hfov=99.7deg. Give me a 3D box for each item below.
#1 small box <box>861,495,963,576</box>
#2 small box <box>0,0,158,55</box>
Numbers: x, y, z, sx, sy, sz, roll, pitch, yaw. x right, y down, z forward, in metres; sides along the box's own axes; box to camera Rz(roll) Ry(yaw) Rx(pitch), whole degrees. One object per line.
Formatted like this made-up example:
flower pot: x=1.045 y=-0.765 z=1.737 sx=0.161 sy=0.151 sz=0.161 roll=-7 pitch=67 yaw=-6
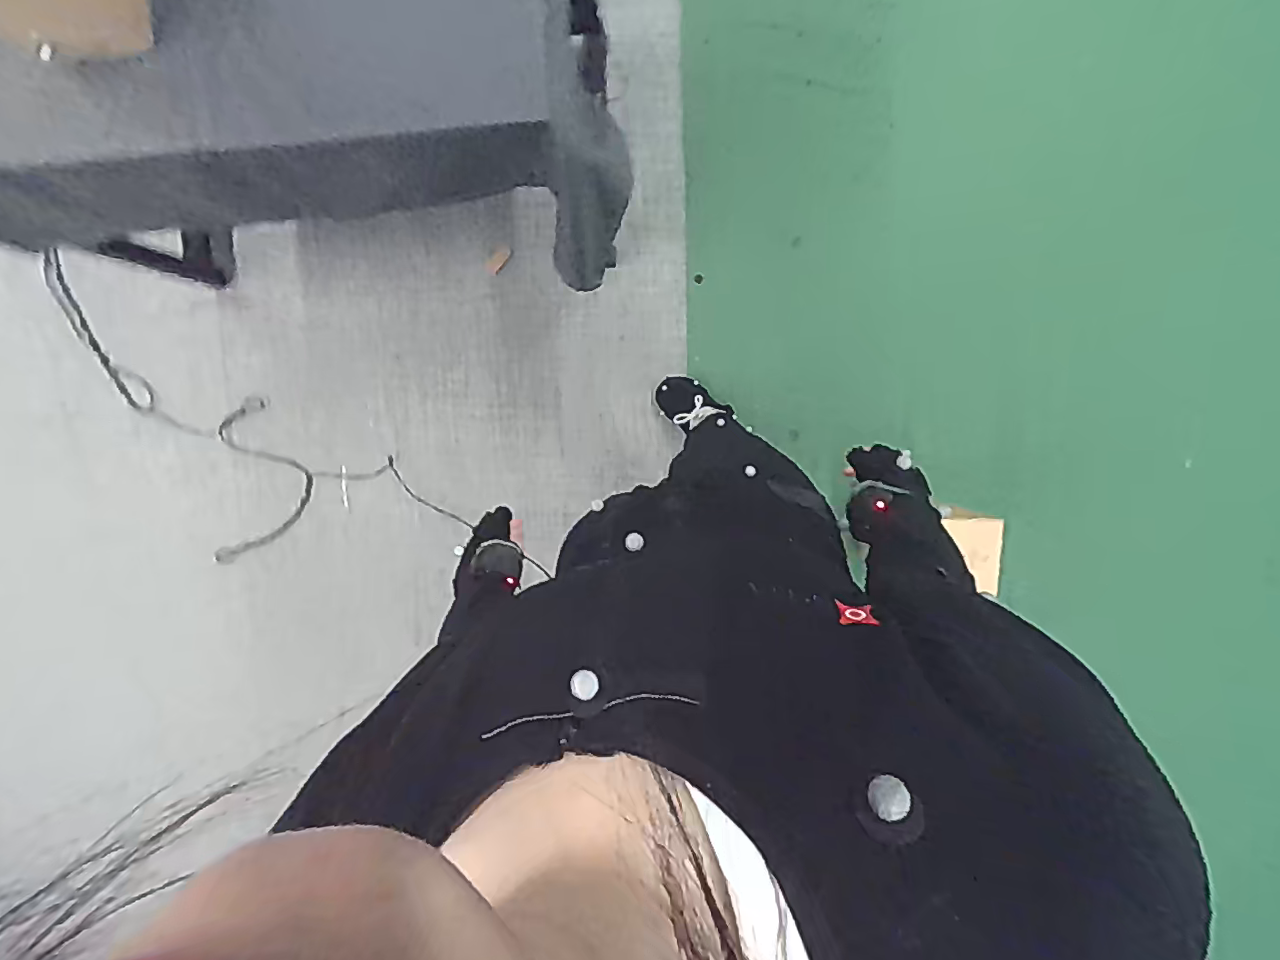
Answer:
small box: x=0.672 y=0.132 z=1.358 sx=0.179 sy=0.176 sz=0.168 roll=5 pitch=97 yaw=5
small box: x=-0.760 y=-0.677 z=0.680 sx=0.168 sy=0.176 sz=0.179 roll=-1 pitch=95 yaw=5
